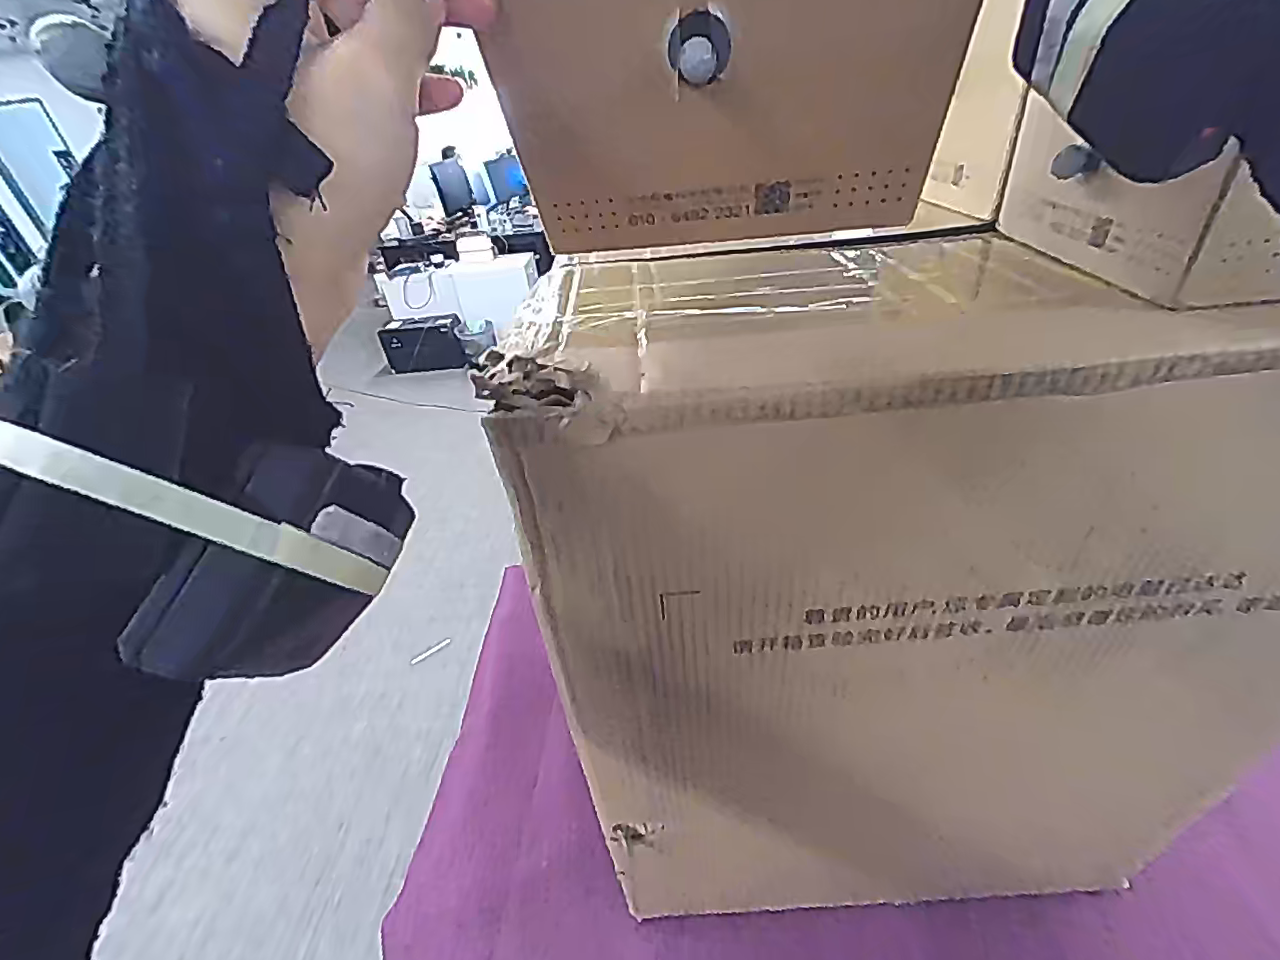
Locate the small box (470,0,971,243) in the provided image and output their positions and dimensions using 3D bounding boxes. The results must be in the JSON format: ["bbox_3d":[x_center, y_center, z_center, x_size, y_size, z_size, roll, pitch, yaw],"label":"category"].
[{"bbox_3d":[0.033,-0.218,0.221,0.168,0.176,0.179,0,62,10],"label":"small box"}]

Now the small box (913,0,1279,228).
[{"bbox_3d":[0.317,-0.290,0.391,0.179,0.176,0.168,-5,34,3],"label":"small box"}]
